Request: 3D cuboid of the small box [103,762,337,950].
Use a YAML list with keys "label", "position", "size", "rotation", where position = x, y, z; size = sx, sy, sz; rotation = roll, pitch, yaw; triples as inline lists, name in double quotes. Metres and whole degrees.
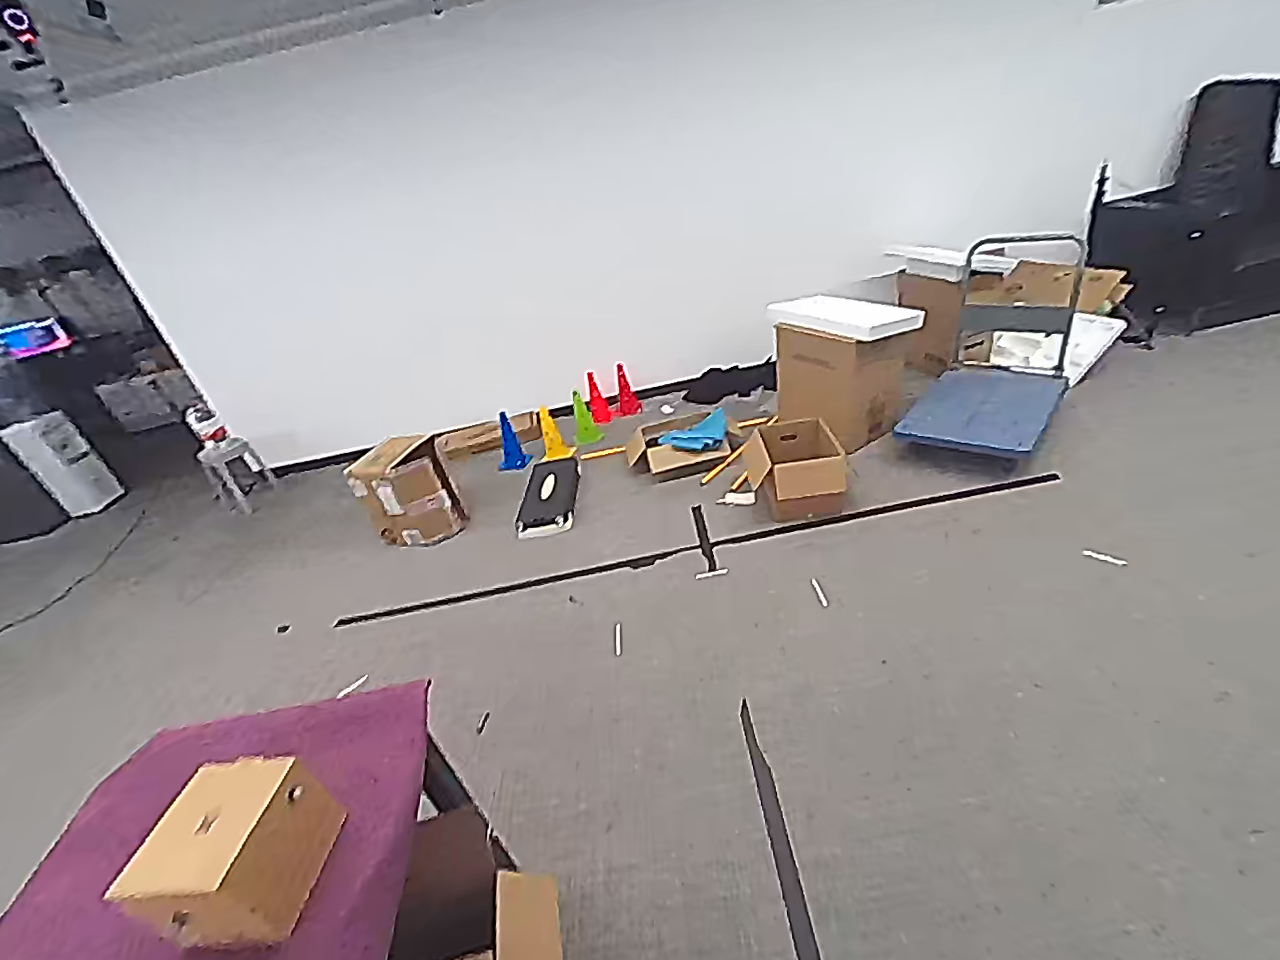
- label: "small box"
  position: [-0.581, 0.545, 0.782]
  size: [0.168, 0.176, 0.179]
  rotation: [-9, 30, 7]
